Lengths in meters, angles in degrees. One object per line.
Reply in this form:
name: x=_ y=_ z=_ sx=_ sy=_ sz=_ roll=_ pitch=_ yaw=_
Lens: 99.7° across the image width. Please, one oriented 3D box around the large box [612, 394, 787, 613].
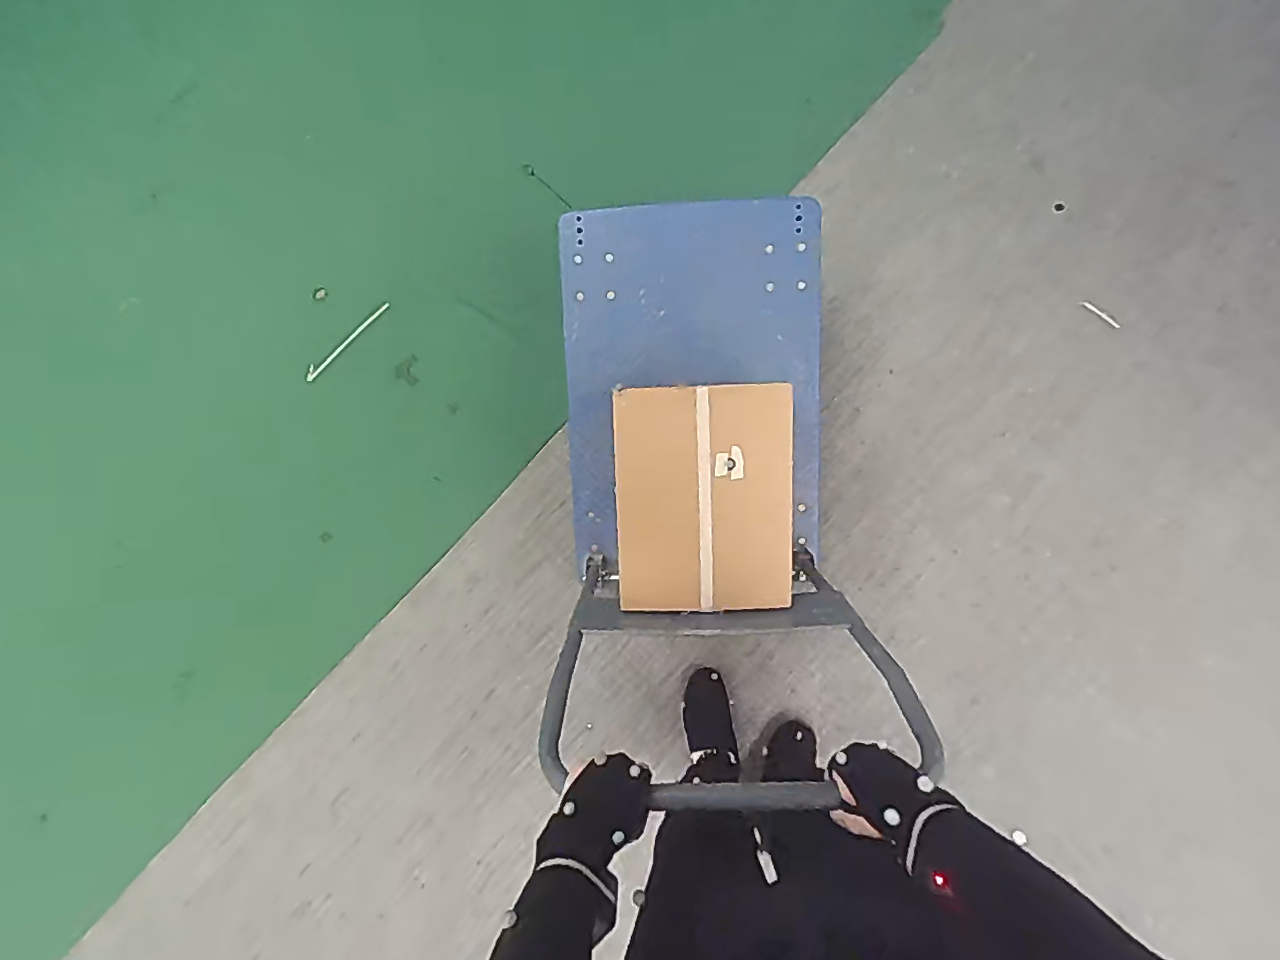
large box: x=0.119 y=0.034 z=1.129 sx=0.320 sy=0.320 sz=0.408 roll=-1 pitch=96 yaw=3
